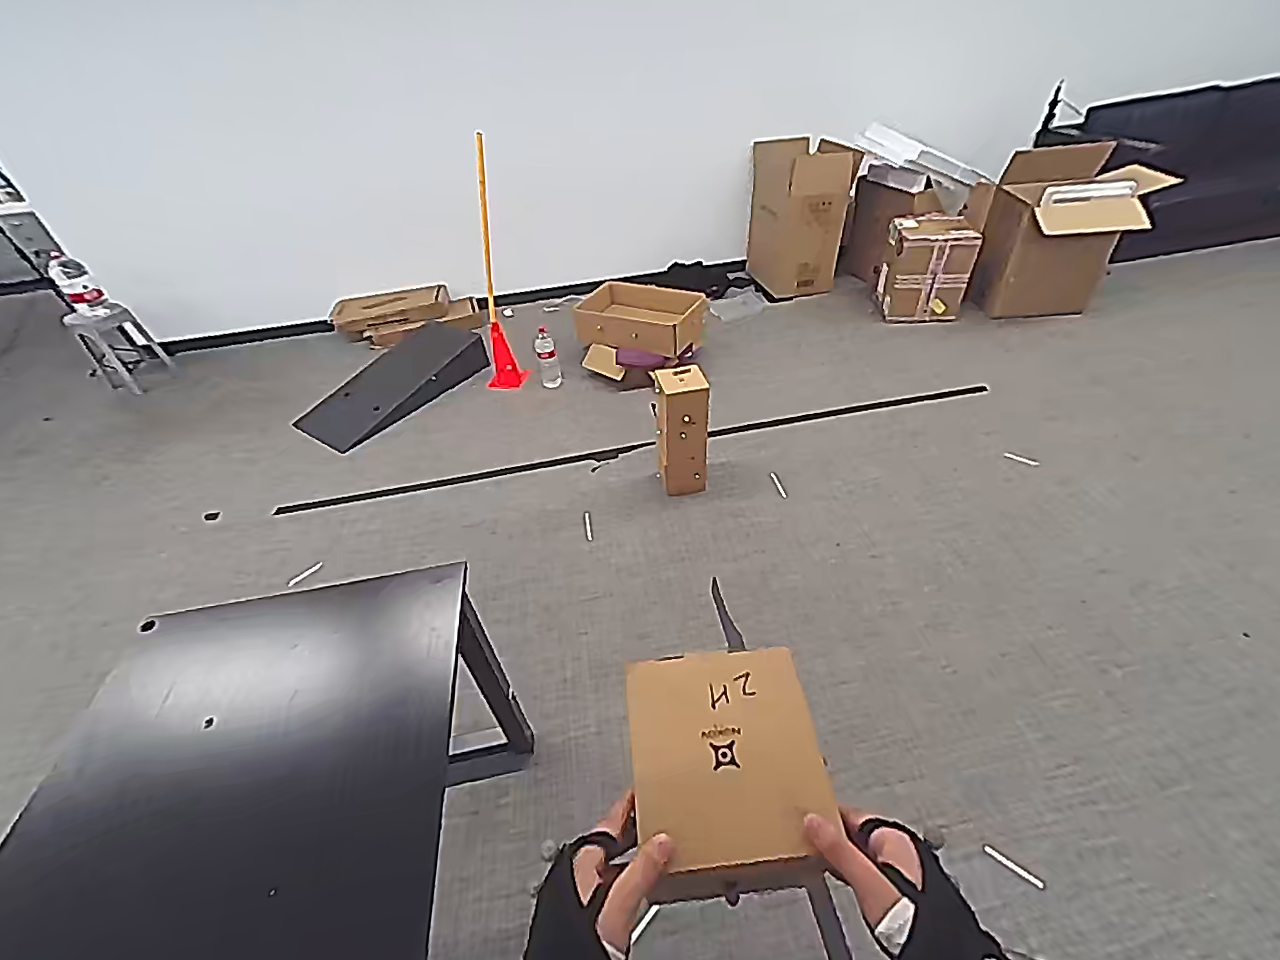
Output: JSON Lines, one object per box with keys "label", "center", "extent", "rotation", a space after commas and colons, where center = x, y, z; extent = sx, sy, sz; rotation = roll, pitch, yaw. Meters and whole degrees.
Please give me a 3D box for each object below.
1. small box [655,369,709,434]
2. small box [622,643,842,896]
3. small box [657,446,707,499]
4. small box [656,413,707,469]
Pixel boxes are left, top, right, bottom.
{"label": "small box", "center": [0.155, -0.295, 2.043], "extent": [0.168, 0.176, 0.179], "rotation": [-11, 41, -6]}
{"label": "small box", "center": [0.076, 0.288, 0.533], "extent": [0.168, 0.176, 0.179], "rotation": [-7, 45, -2]}
{"label": "small box", "center": [0.174, -0.044, 2.255], "extent": [0.179, 0.176, 0.168], "rotation": [-11, 40, -4]}
{"label": "small box", "center": [0.163, -0.168, 2.149], "extent": [0.168, 0.176, 0.179], "rotation": [-11, 39, -6]}
